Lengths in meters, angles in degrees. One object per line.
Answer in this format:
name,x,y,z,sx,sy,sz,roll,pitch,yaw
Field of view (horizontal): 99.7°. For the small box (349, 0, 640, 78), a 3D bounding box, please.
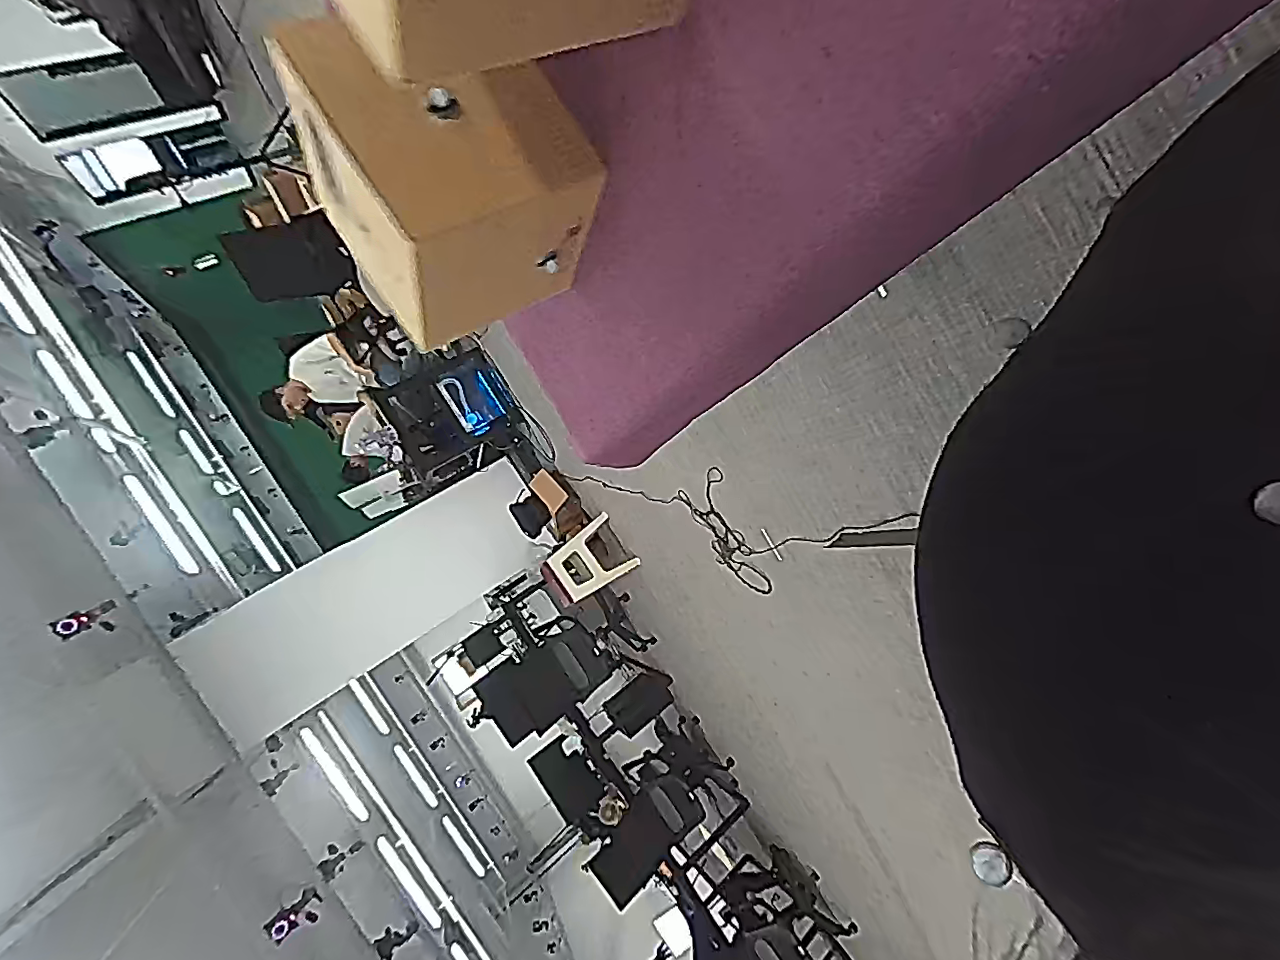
small box,-0.060,-0.304,0.194,0.179,0.176,0.168,58,157,-1
